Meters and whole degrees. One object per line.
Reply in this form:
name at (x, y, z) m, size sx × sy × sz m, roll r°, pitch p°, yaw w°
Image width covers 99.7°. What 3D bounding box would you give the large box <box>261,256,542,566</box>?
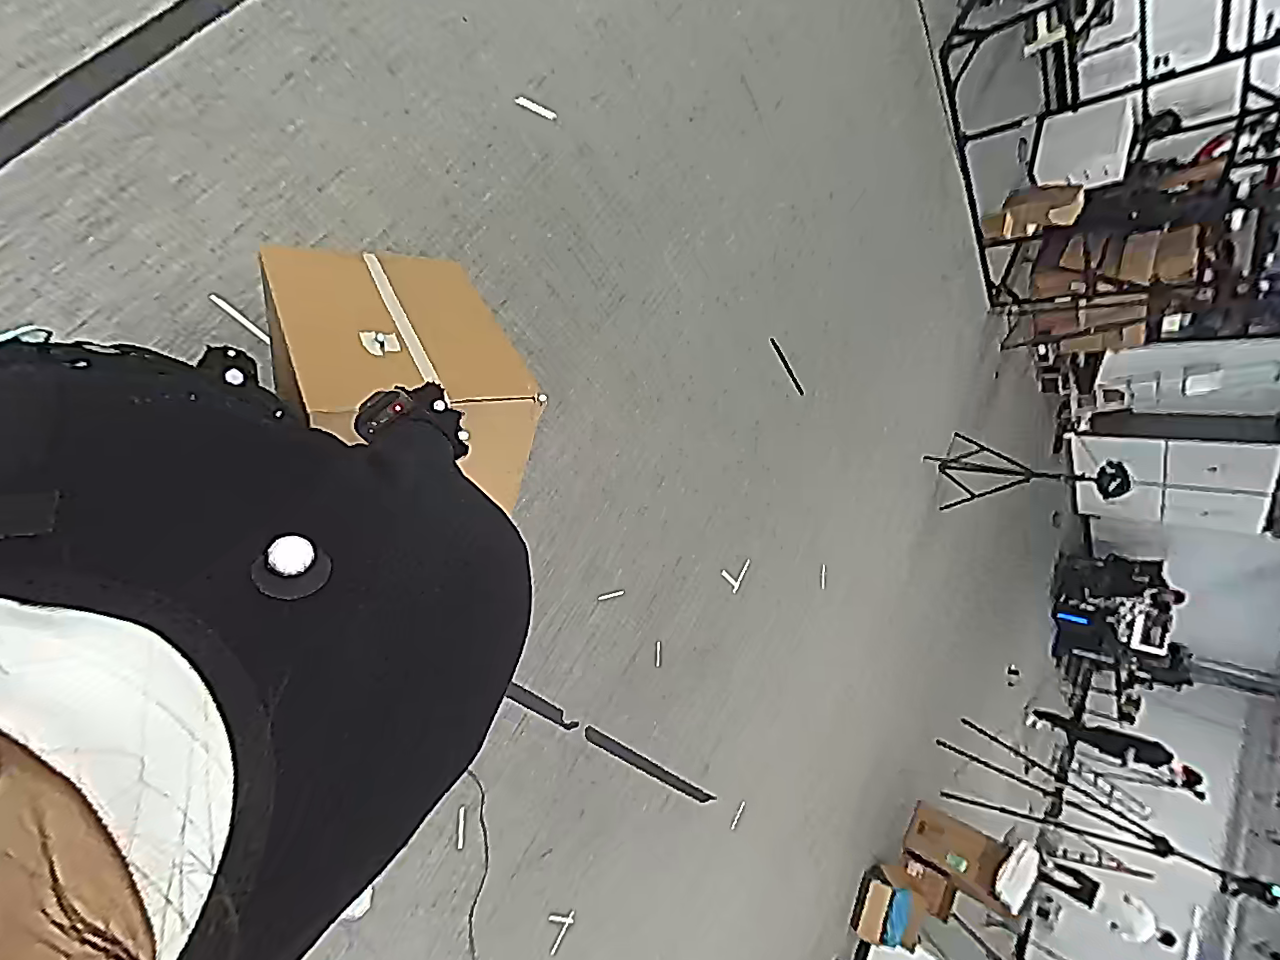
large box at (-0.421, -0.127, 0.928) m, size 0.320 × 0.408 × 0.320 m, roll -11°, pitch 143°, yaw -36°
